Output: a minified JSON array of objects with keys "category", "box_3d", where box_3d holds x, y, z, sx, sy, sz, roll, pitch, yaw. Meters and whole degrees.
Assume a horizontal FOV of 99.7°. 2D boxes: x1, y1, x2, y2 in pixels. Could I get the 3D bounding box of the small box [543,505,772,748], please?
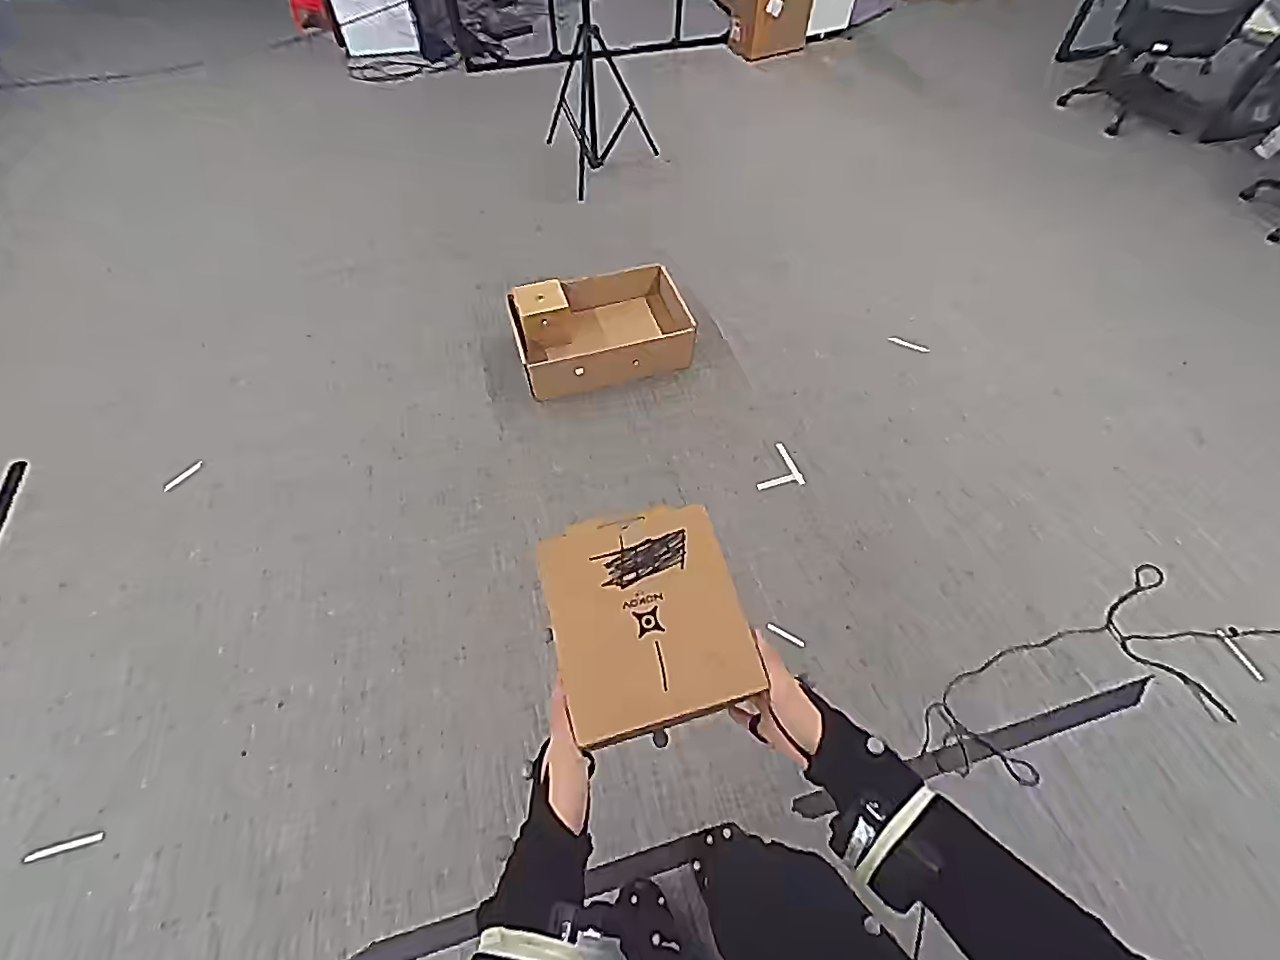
[{"category":"small box","box_3d":[0.005,0.151,0.538,0.168,0.176,0.179,-13,64,-10]}]
